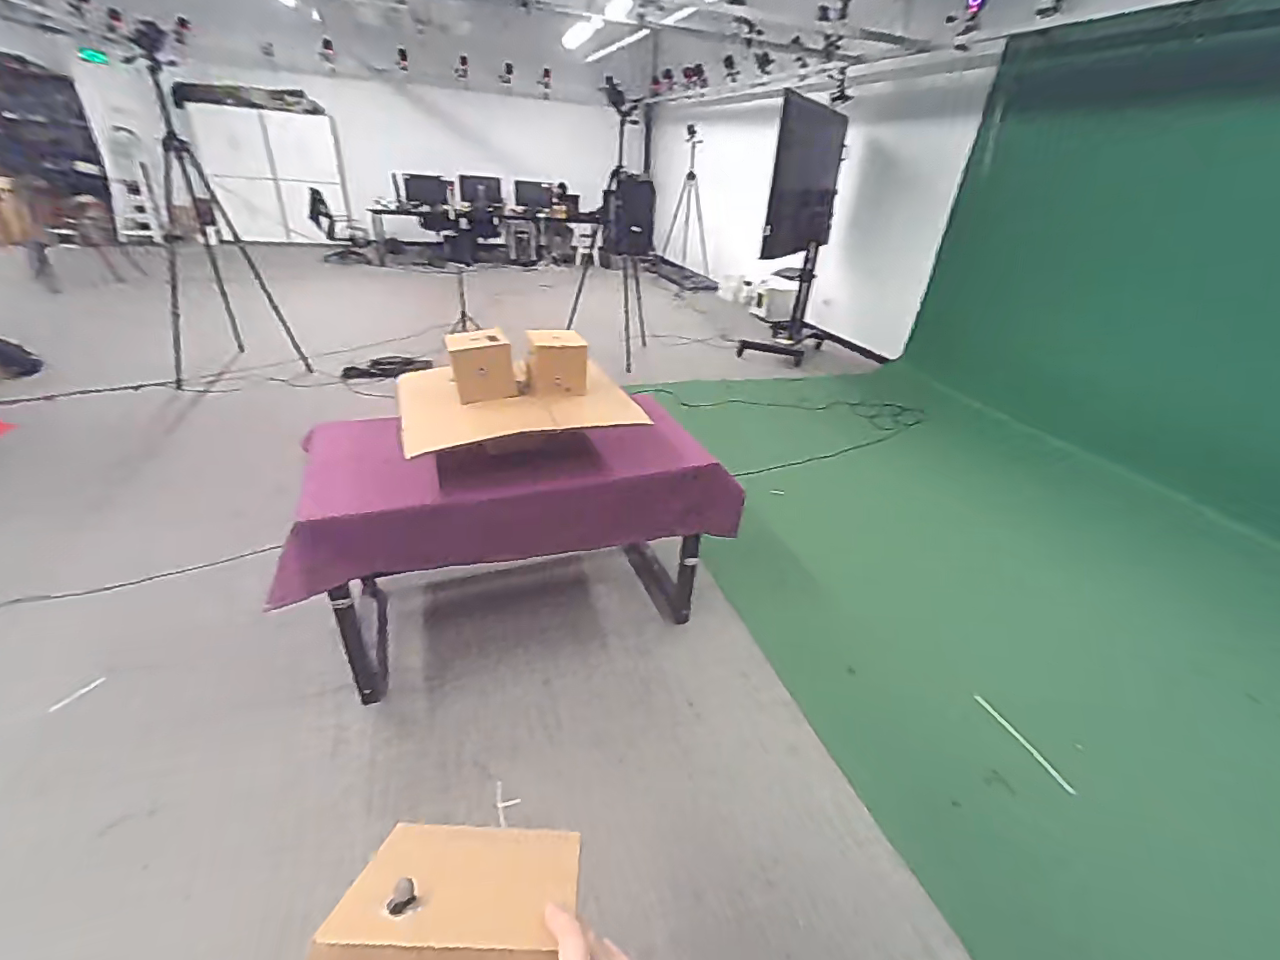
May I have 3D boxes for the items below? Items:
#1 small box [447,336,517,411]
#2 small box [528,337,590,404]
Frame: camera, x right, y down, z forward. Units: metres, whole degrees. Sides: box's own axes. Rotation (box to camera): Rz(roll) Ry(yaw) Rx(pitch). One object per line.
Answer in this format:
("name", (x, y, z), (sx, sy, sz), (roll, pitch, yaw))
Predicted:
("small box", (-0.482, -0.329, 1.666), (0.179, 0.176, 0.168), (-14, 34, -16))
("small box", (-0.268, -0.355, 1.744), (0.168, 0.176, 0.179), (-5, 32, -21))
